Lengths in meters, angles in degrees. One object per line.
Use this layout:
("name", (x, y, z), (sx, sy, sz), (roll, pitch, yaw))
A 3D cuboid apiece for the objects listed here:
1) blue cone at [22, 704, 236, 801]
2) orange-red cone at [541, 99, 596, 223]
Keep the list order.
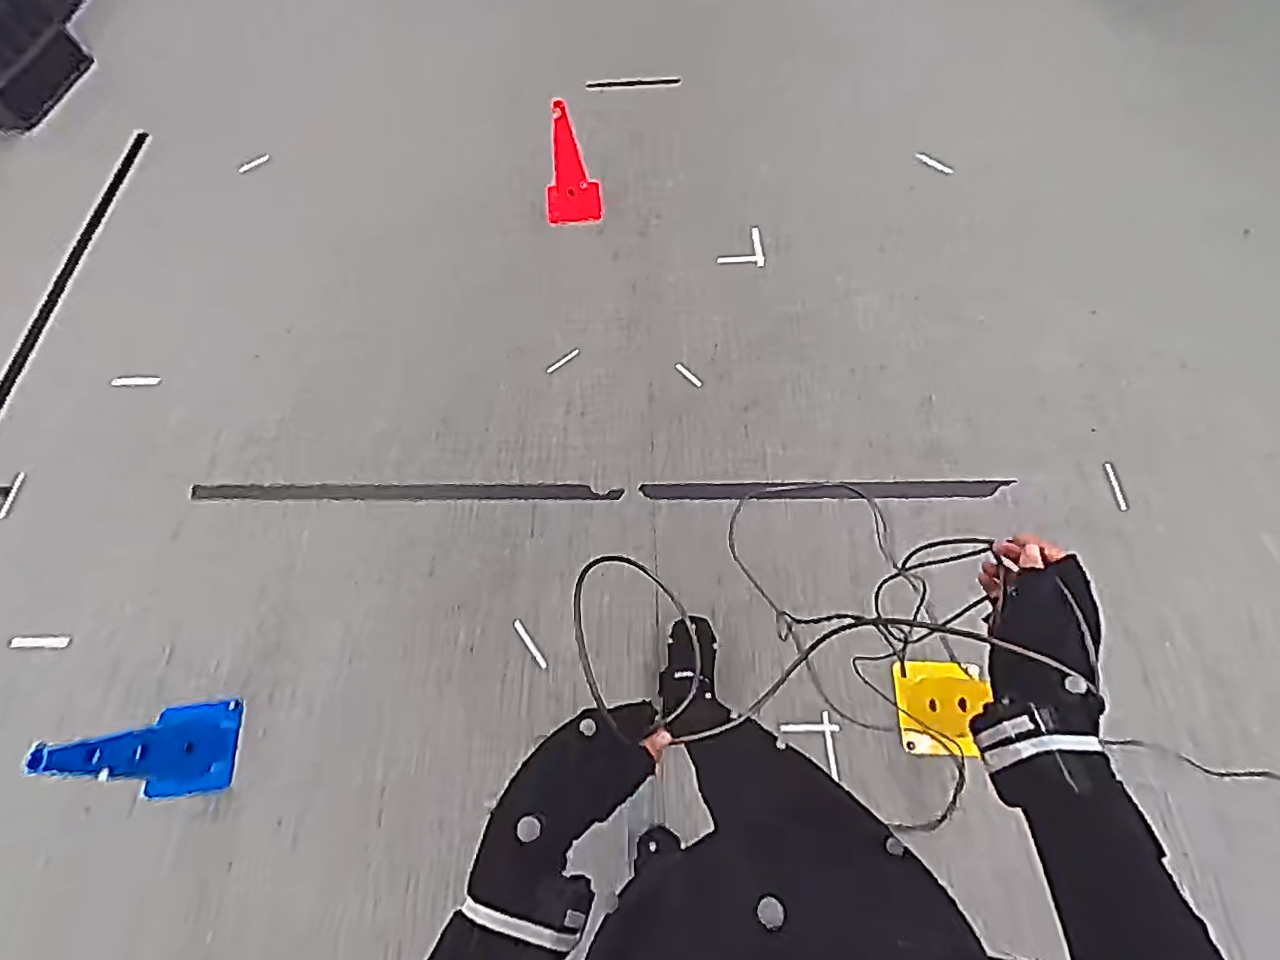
("blue cone", (-1.065, 0.574, 1.121), (0.193, 0.380, 0.192), (-6, 66, 0))
("orange-red cone", (-0.270, -1.078, 1.808), (0.199, 0.360, 0.198), (-6, 66, 1))
